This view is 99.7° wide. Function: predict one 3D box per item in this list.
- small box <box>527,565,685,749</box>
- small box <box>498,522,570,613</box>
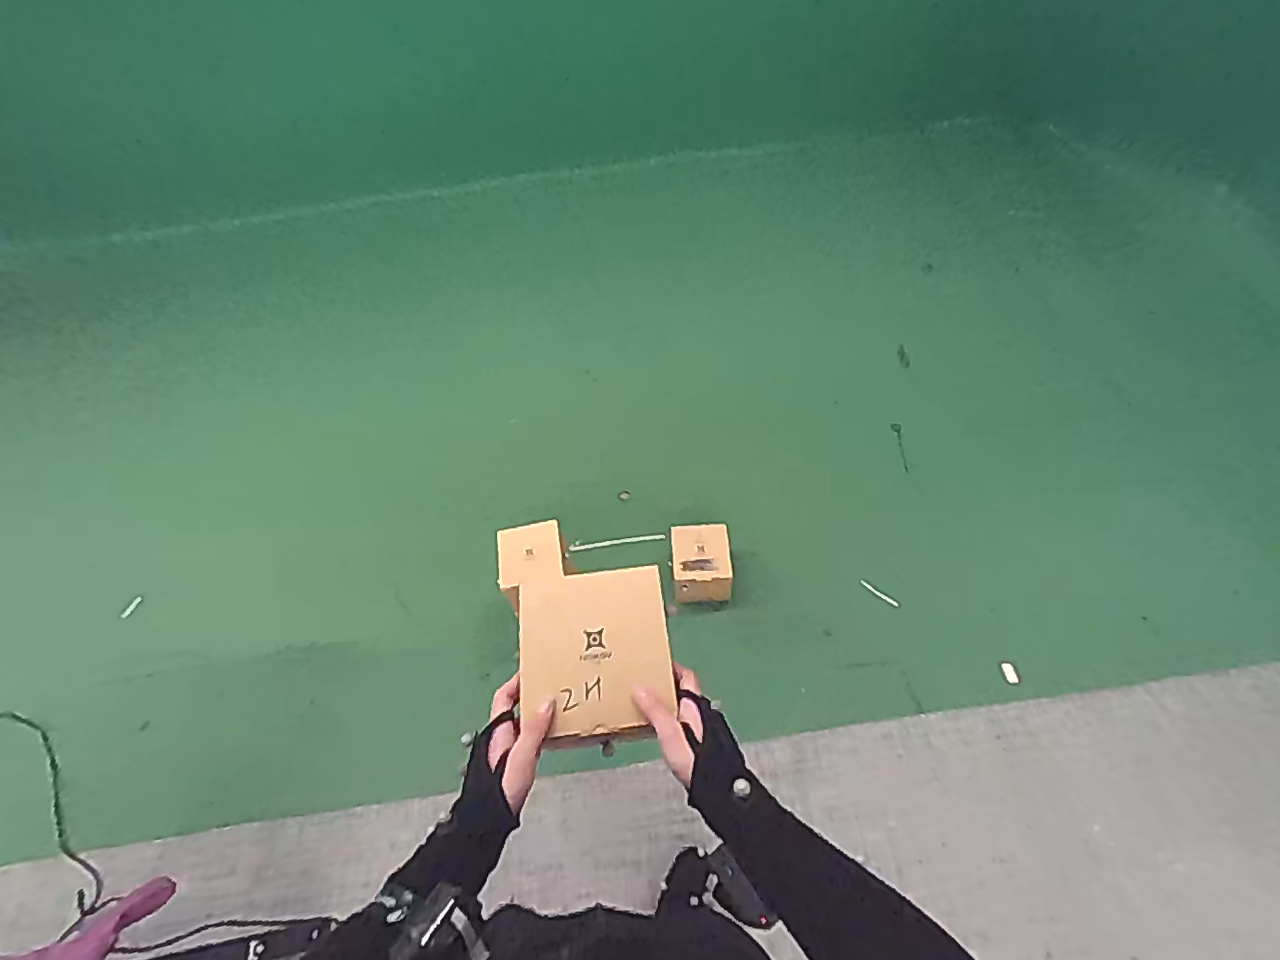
[{"bbox_3d":[-0.041,0.222,0.665,0.168,0.176,0.179,-6,61,-2],"label":"small box"},{"bbox_3d":[-0.285,0.241,1.480,0.168,0.176,0.179,-11,56,-3],"label":"small box"}]
